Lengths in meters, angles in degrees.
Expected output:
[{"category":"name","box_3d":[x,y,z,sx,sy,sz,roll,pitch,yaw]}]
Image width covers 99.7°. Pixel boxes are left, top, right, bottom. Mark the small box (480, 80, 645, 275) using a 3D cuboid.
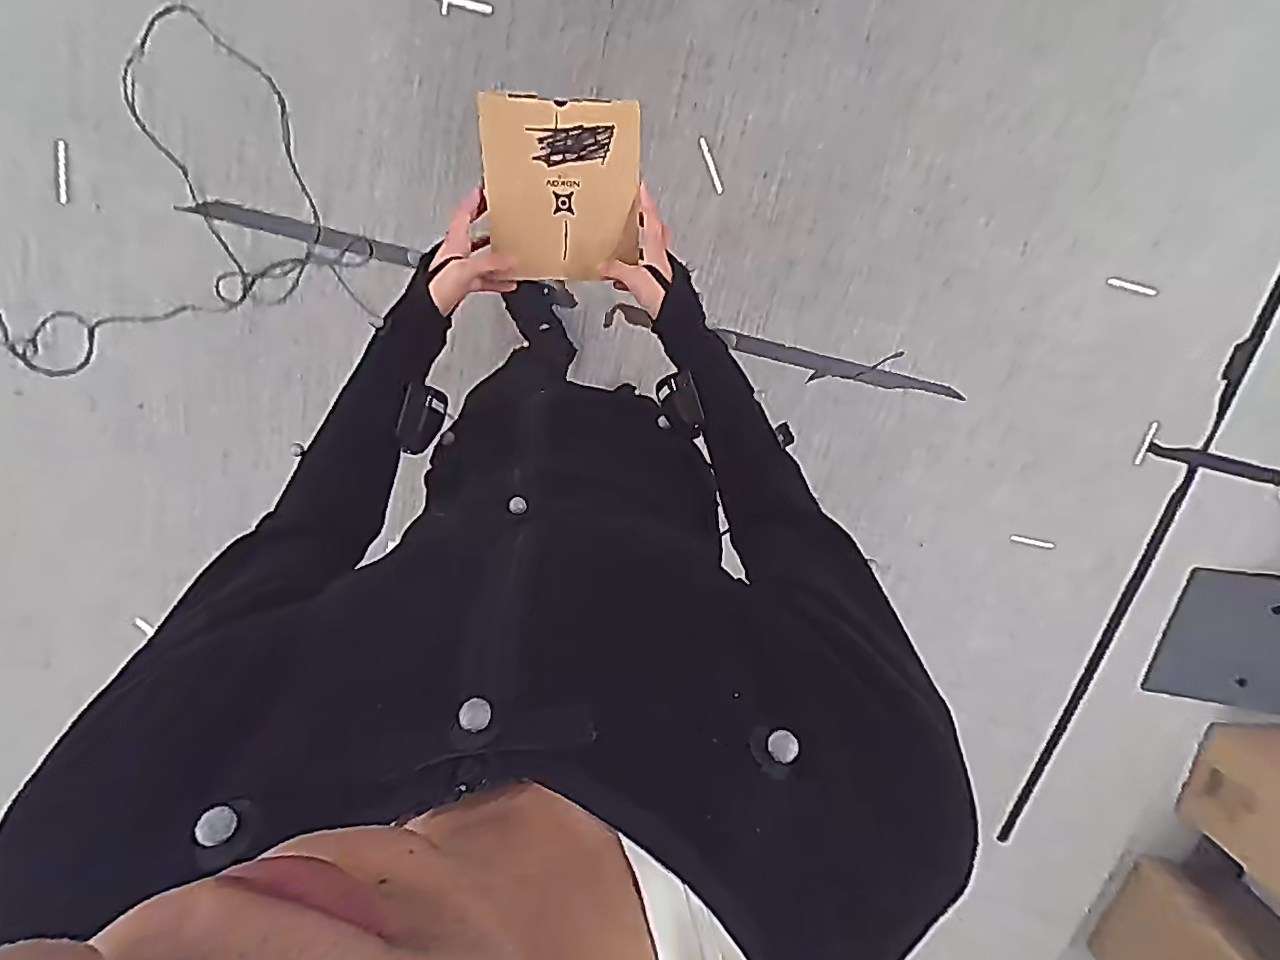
[{"category":"small box","box_3d":[-0.091,-0.338,0.637,0.168,0.176,0.179,-3,114,-9]}]
